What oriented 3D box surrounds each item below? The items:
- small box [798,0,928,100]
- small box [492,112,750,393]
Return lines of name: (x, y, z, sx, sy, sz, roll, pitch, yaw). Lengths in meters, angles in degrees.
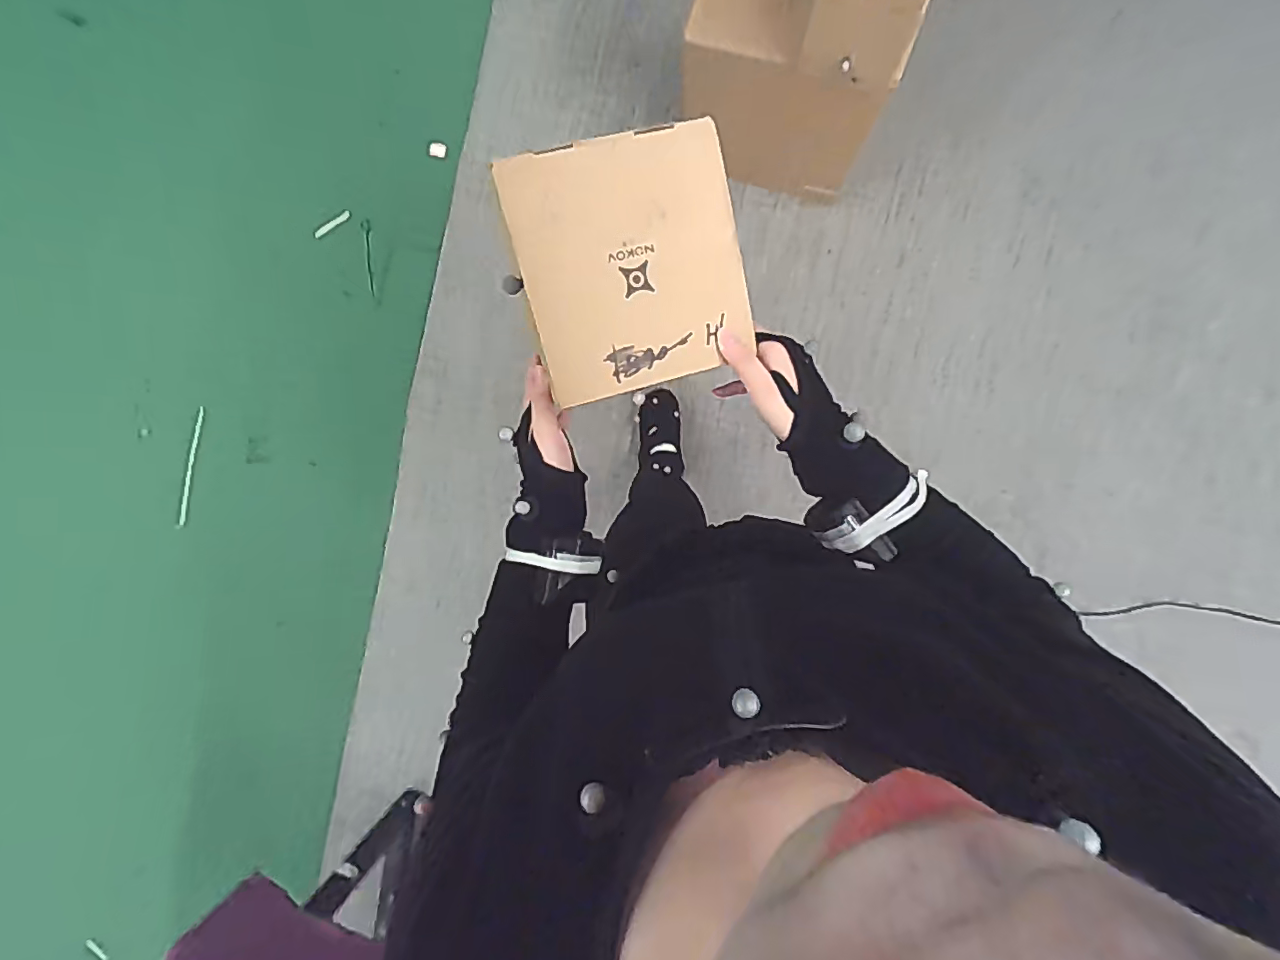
small box: (0.376, -0.785, 0.892, 0.168, 0.176, 0.179, 19, 92, 6)
small box: (-0.024, -0.181, 0.478, 0.168, 0.176, 0.179, -16, 104, -8)
